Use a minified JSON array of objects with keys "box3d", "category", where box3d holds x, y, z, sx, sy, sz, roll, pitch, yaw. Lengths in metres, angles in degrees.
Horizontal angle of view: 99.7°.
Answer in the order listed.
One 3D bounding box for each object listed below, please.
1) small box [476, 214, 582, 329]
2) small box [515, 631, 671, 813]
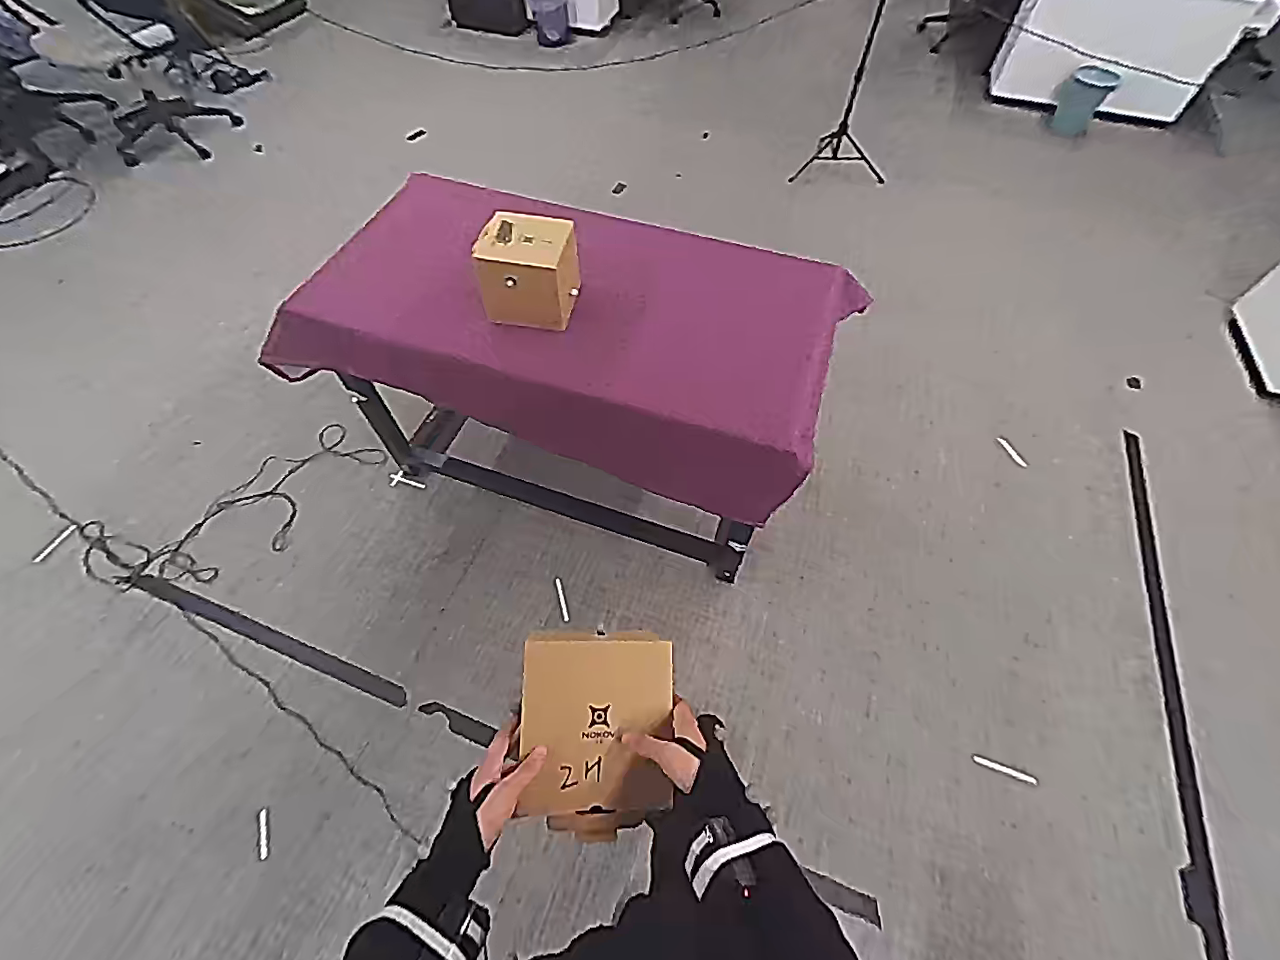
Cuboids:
[{"box3d":[-0.234,-0.454,1.190,0.179,0.176,0.168,9,58,4],"category":"small box"},{"box3d":[-0.058,0.275,0.655,0.168,0.176,0.179,2,77,-7],"category":"small box"}]
